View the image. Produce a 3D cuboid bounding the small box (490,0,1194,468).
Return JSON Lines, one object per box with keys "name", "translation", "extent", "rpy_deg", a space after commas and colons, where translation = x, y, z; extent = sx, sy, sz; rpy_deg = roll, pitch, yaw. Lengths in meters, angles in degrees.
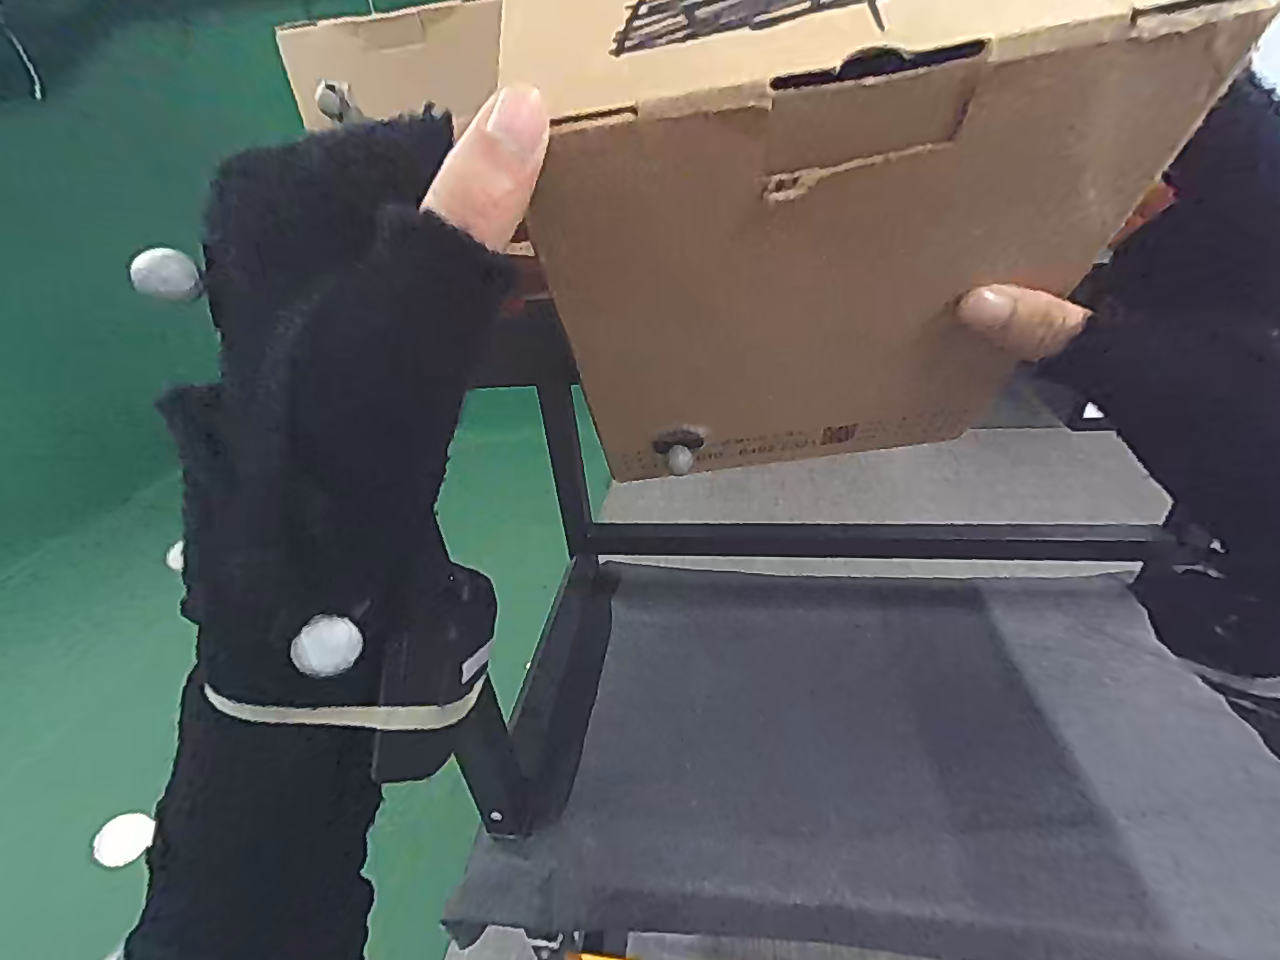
{"name": "small box", "translation": [0.048, -0.117, 0.235], "extent": [0.168, 0.176, 0.179], "rpy_deg": [-7, 61, 4]}
